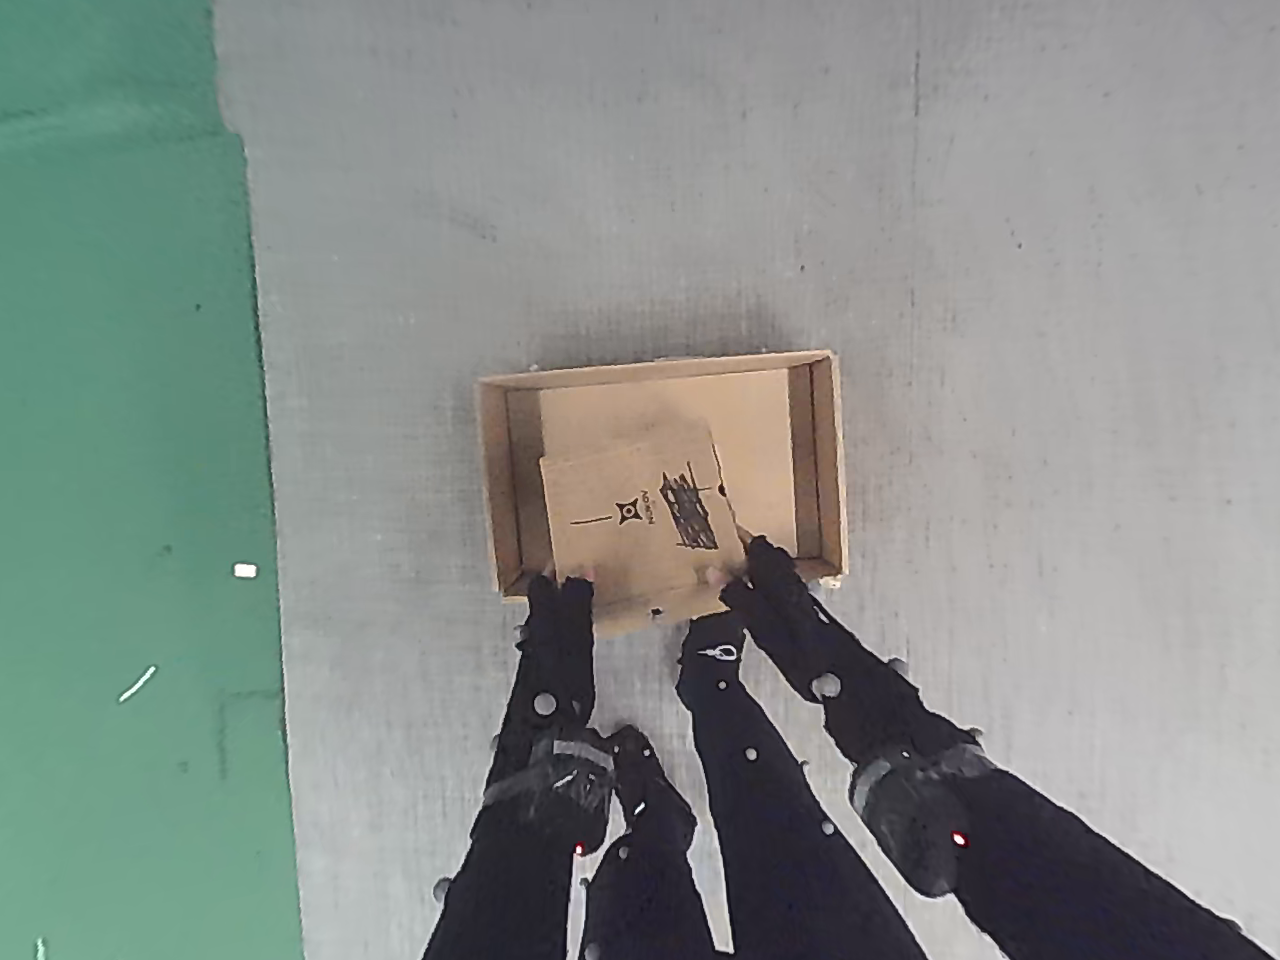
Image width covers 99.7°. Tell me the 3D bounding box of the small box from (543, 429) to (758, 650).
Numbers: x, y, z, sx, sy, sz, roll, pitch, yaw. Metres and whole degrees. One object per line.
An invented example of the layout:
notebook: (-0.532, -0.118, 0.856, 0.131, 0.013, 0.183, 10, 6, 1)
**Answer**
small box: (0.013, 0.073, 0.584, 0.179, 0.176, 0.168, -17, 64, 1)
